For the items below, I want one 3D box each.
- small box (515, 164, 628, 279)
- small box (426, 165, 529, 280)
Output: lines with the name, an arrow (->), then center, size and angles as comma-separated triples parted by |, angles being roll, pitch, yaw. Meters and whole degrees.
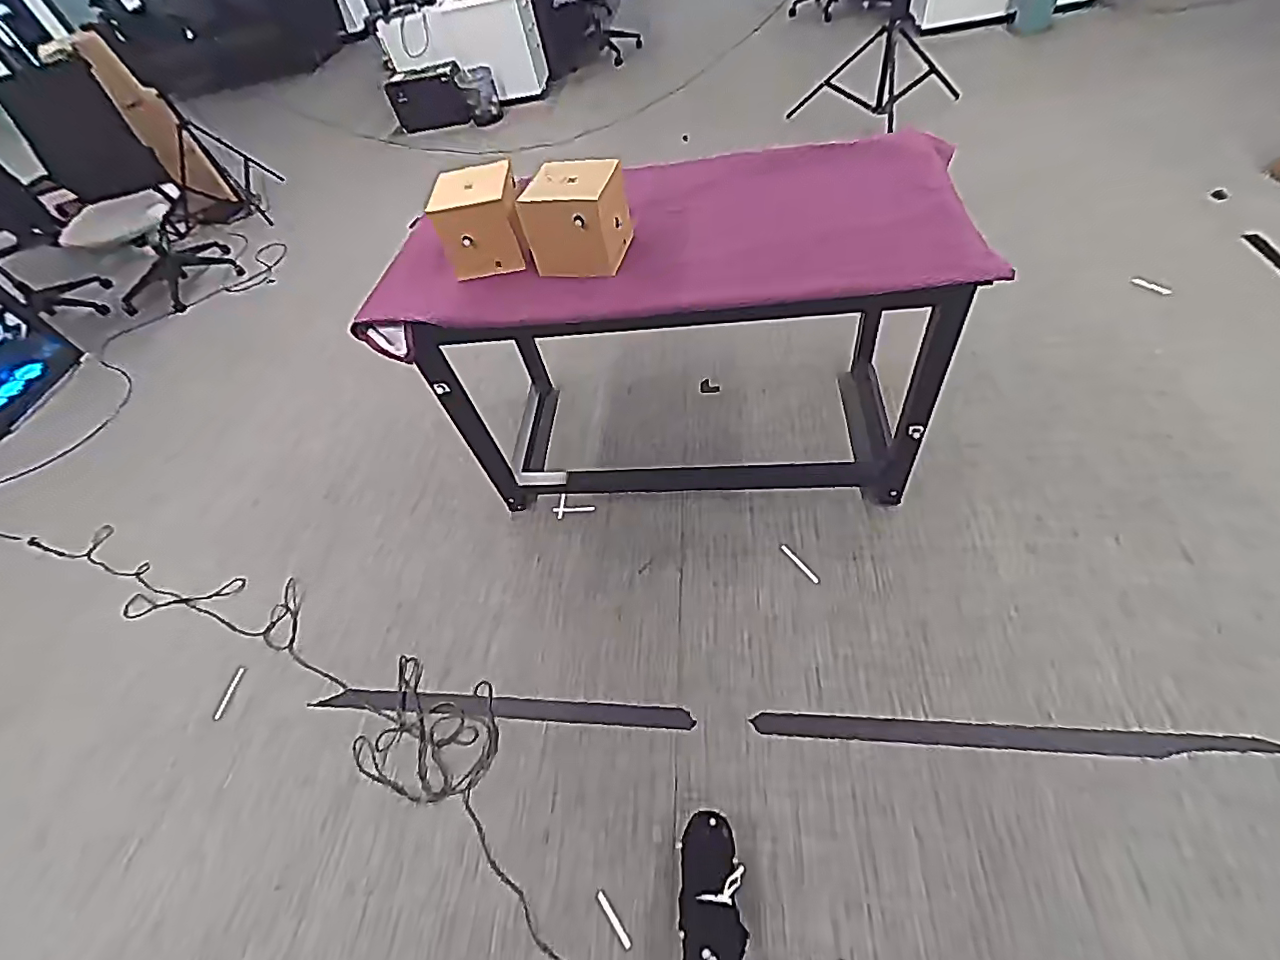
small box -> -0.134, -0.548, 1.158 | 0.179, 0.176, 0.168 | 6, 54, 16
small box -> -0.356, -0.572, 1.224 | 0.168, 0.176, 0.179 | -9, 53, 6
